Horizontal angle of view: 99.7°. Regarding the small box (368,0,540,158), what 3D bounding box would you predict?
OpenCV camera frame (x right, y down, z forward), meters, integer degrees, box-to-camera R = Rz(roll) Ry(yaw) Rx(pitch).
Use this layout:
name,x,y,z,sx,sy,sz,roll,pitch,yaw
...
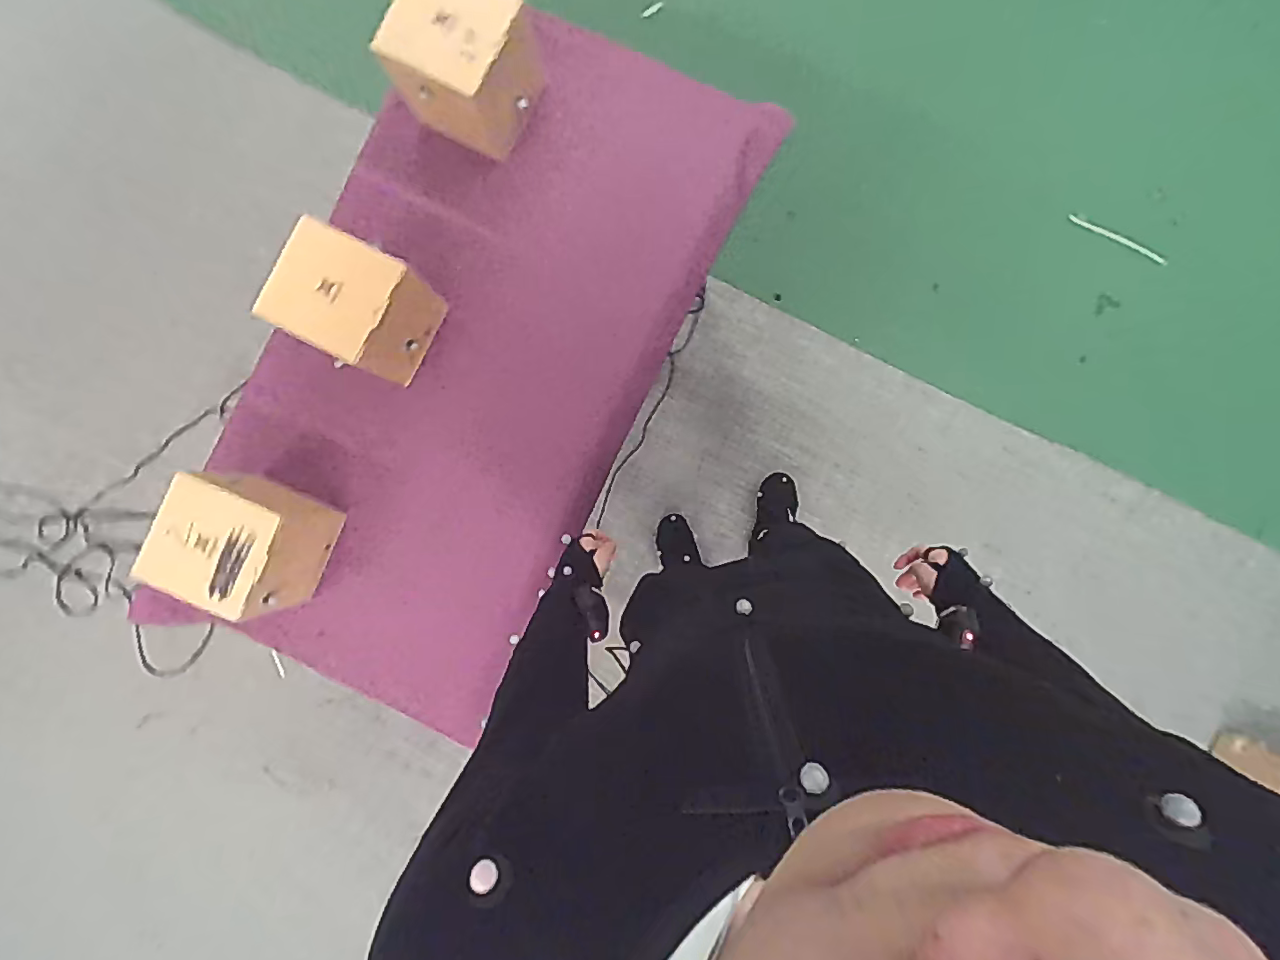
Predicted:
name,x,y,z,sx,sy,sz,roll,pitch,yaw
small box,-0.285,-0.664,0.870,0.179,0.176,0.168,27,91,1

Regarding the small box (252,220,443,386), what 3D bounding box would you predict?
name,x,y,z,sx,sy,sz,roll,pitch,yaw
small box,-0.451,-0.268,0.863,0.179,0.176,0.168,26,88,1
